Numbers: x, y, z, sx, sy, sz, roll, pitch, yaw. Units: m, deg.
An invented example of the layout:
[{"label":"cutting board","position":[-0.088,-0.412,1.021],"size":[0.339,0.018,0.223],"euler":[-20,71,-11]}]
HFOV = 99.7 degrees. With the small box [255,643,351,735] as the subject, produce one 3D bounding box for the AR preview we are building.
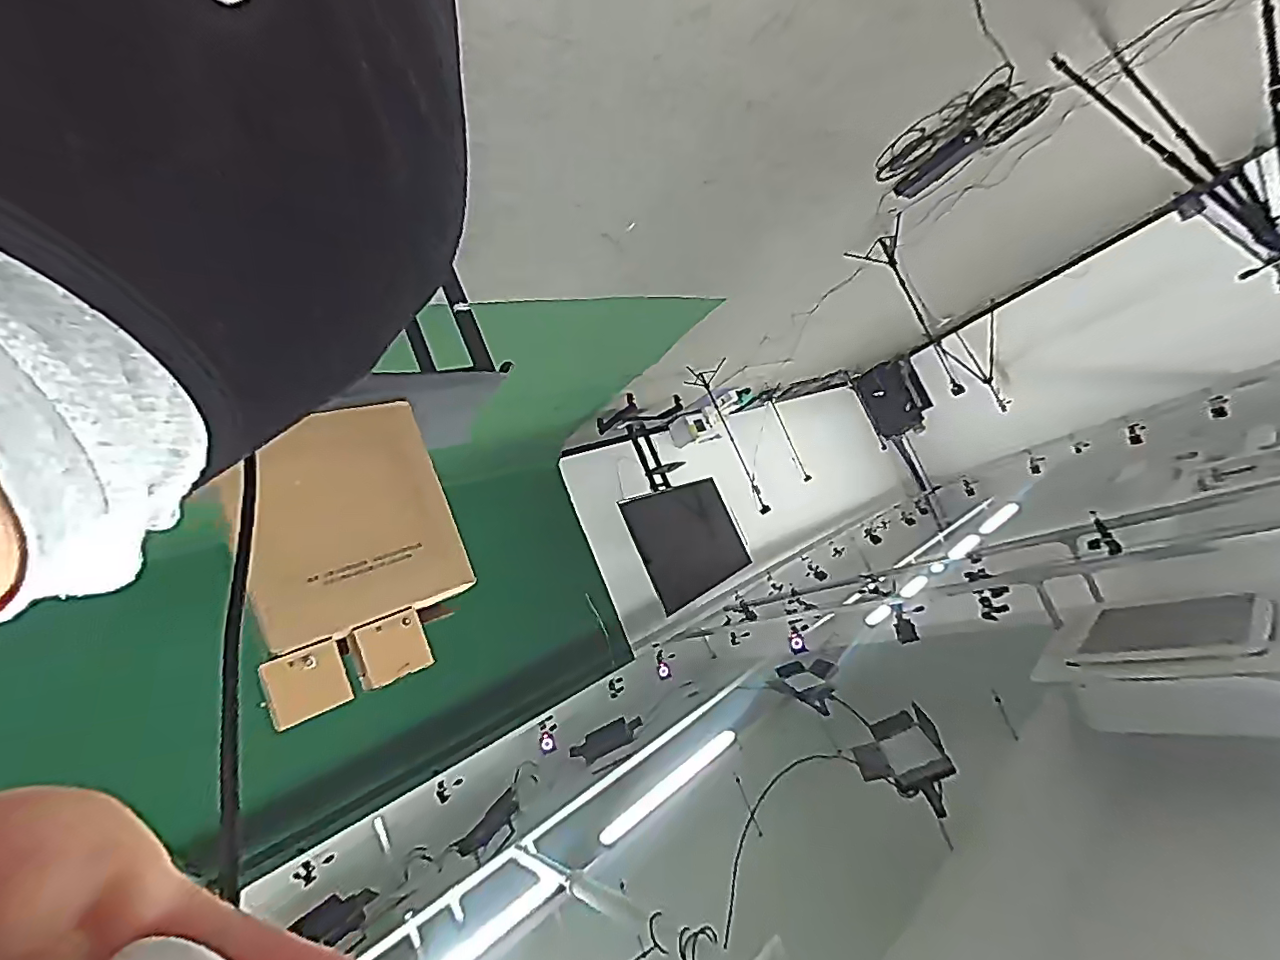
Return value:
[{"label":"small box","position":[-0.876,0.537,1.402],"size":[0.168,0.176,0.179],"euler":[-18,170,-40]}]
